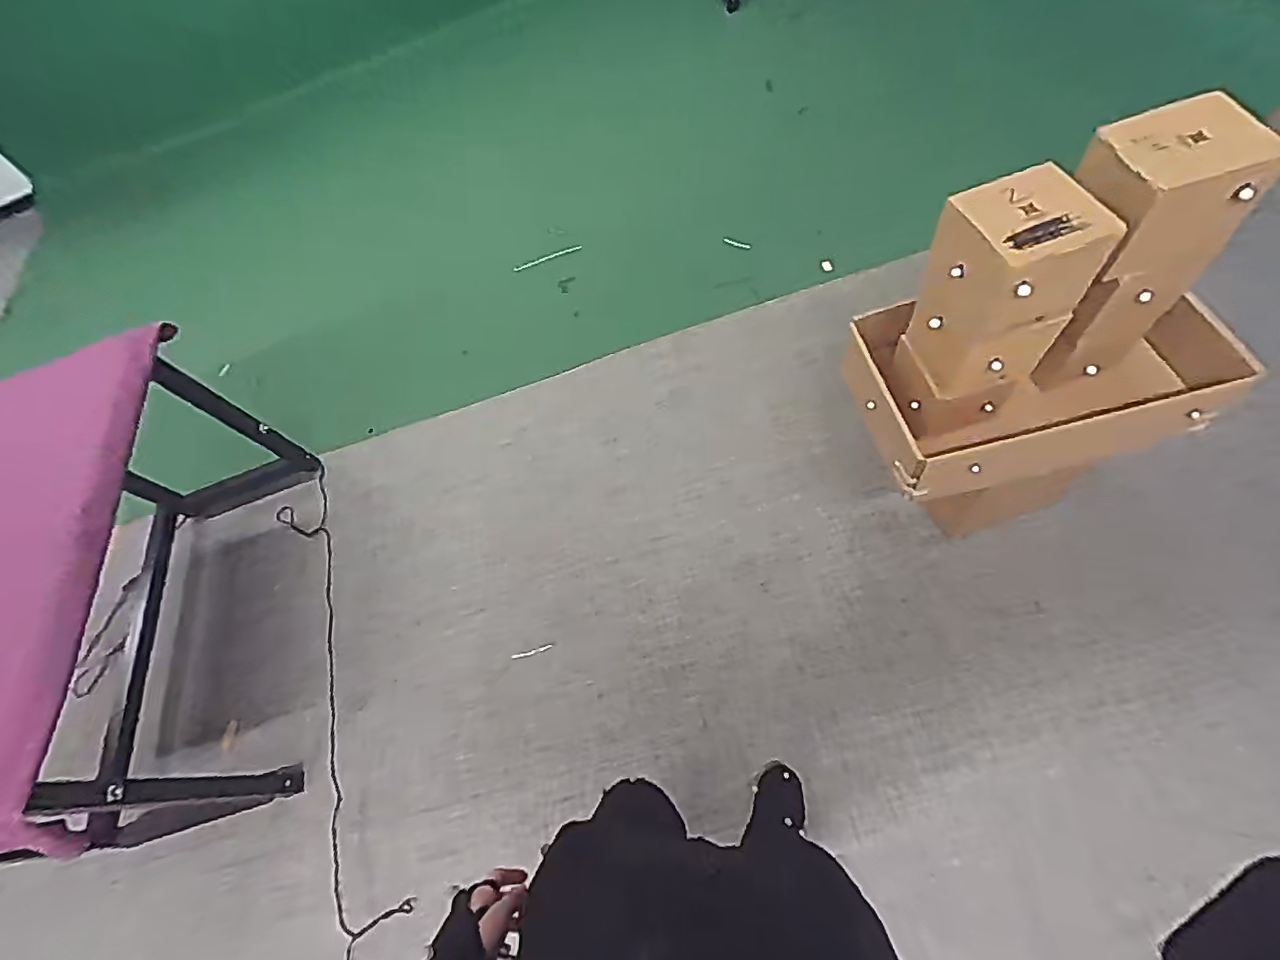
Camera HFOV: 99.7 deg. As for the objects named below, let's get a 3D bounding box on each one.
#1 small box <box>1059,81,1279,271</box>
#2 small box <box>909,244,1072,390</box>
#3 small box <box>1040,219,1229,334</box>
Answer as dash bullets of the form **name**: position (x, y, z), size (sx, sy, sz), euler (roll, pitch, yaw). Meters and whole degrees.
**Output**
- **small box**: position (0.812, -0.462, 0.840), size (0.179, 0.176, 0.168), euler (-15, 61, 8)
- **small box**: position (0.626, -0.287, 0.993), size (0.168, 0.176, 0.179), euler (-17, 61, 5)
- **small box**: position (0.868, -0.397, 0.982), size (0.179, 0.176, 0.168), euler (-21, 61, 5)
